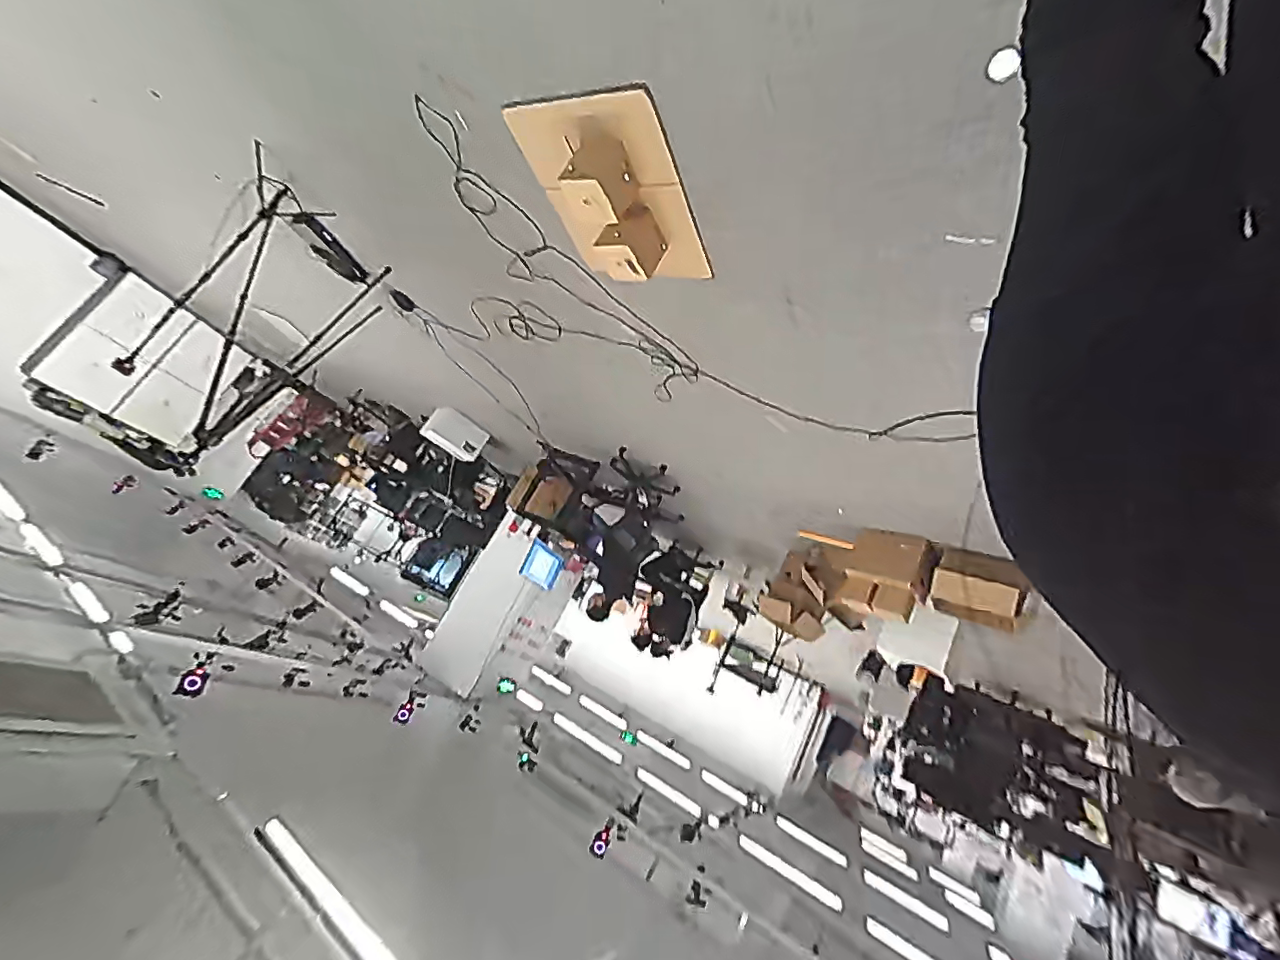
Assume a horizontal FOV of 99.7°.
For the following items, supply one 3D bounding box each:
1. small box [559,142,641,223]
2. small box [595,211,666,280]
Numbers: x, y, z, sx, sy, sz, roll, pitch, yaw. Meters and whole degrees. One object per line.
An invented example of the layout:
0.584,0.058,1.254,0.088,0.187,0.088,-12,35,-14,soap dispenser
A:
-0.128,-0.974,1.773,0.179,0.176,0.168,17,162,32,small box
-0.026,-0.853,1.969,0.179,0.176,0.168,16,161,36,small box
